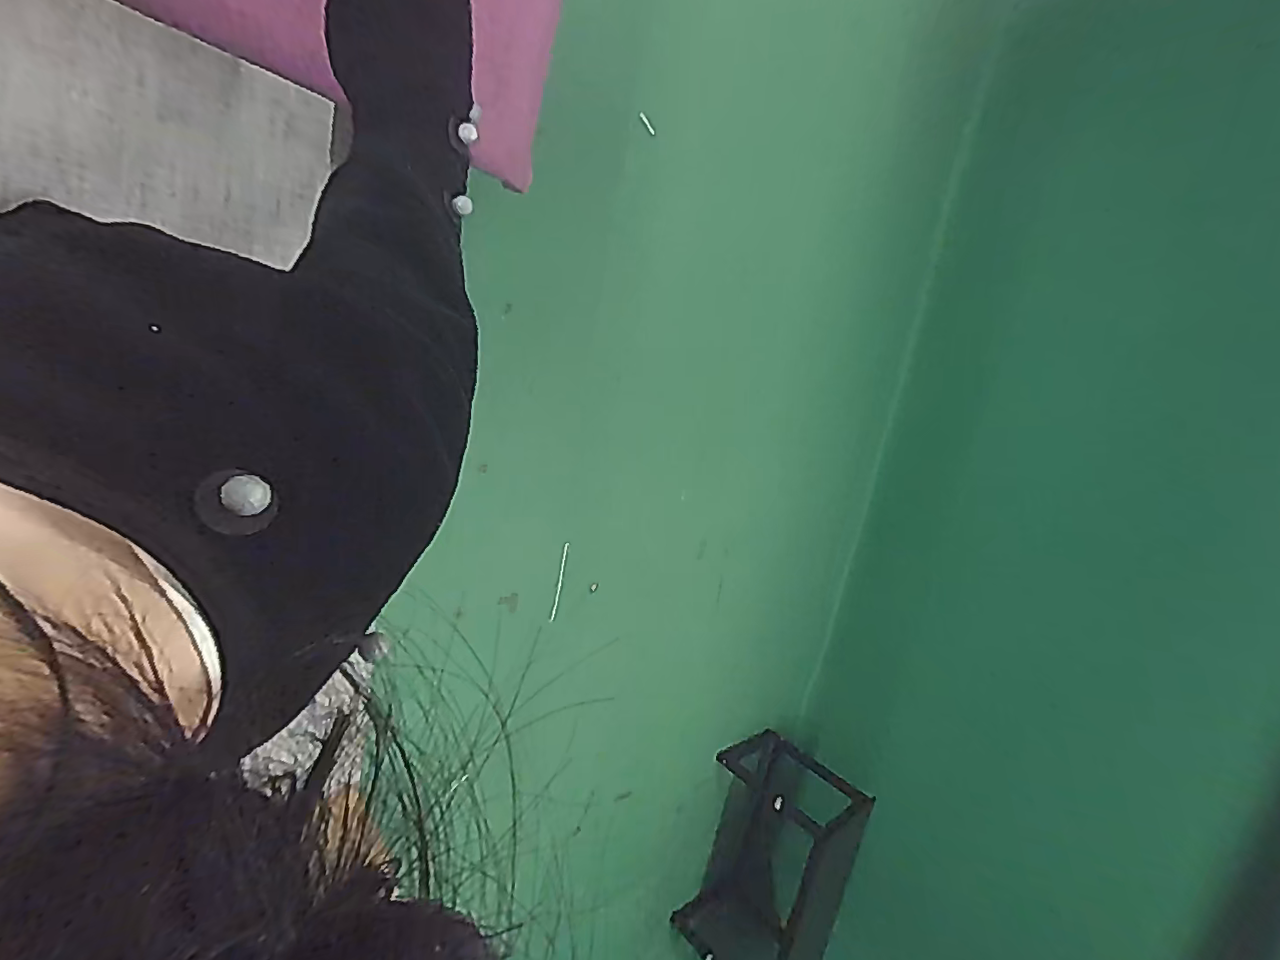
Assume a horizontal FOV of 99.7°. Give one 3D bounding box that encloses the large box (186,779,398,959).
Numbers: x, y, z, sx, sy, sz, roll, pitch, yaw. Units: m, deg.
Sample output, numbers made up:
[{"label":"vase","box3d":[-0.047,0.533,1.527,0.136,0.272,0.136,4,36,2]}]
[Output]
[{"label":"large box","box3d":[-0.958,1.154,1.511,0.408,0.320,0.320,-18,118,-41]}]
